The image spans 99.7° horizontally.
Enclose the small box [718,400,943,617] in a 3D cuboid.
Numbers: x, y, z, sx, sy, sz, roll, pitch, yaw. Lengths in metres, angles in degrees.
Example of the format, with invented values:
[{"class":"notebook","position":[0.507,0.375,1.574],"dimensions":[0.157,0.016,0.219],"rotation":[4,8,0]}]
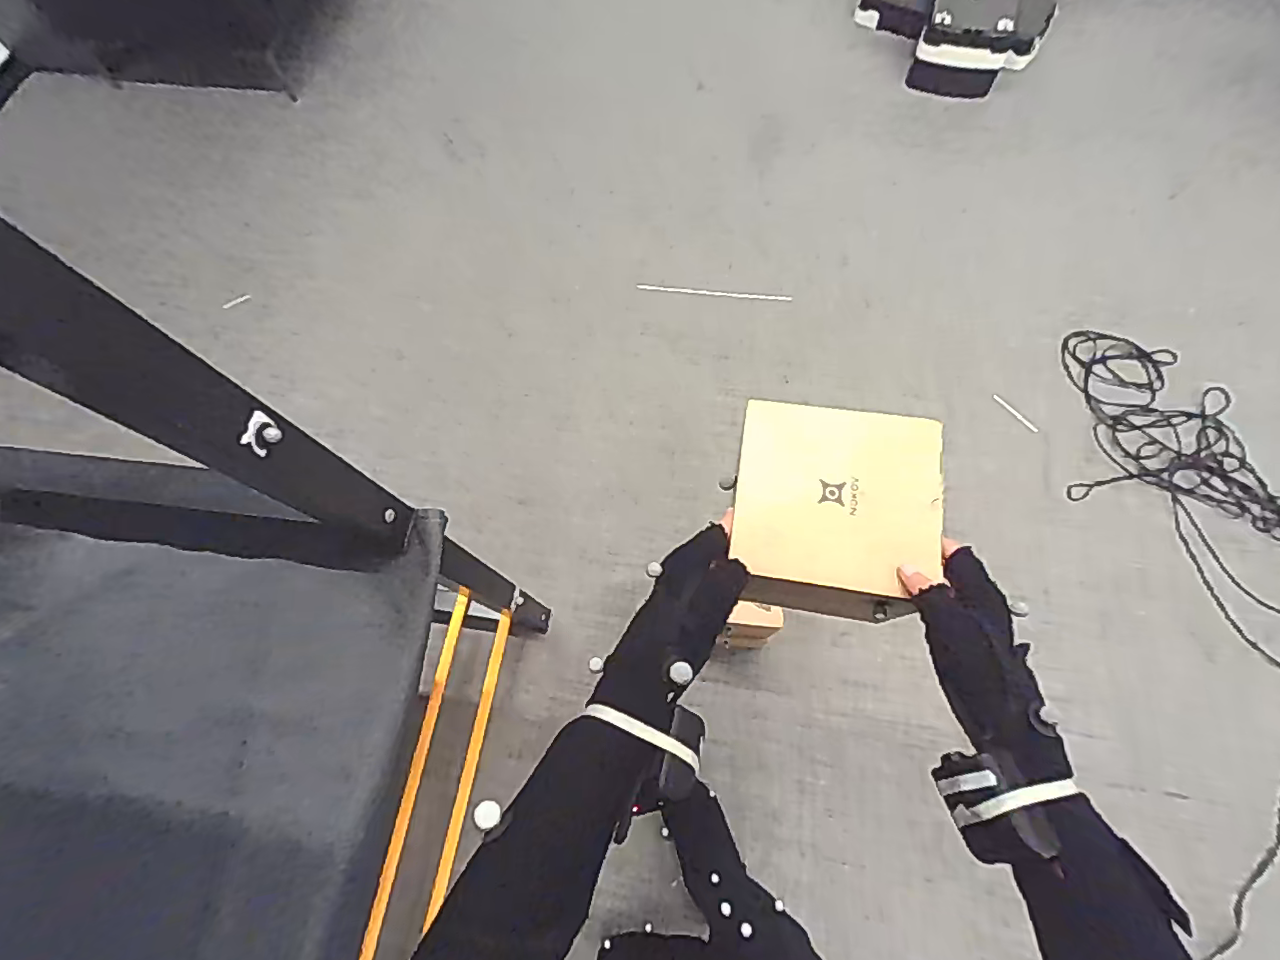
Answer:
[{"class":"small box","position":[0.174,0.038,0.538],"dimensions":[0.179,0.176,0.168],"rotation":[8,74,8]}]

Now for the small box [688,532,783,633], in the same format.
[{"class":"small box","position":[0.191,0.213,1.098],"dimensions":[0.179,0.176,0.168],"rotation":[4,69,7]}]
